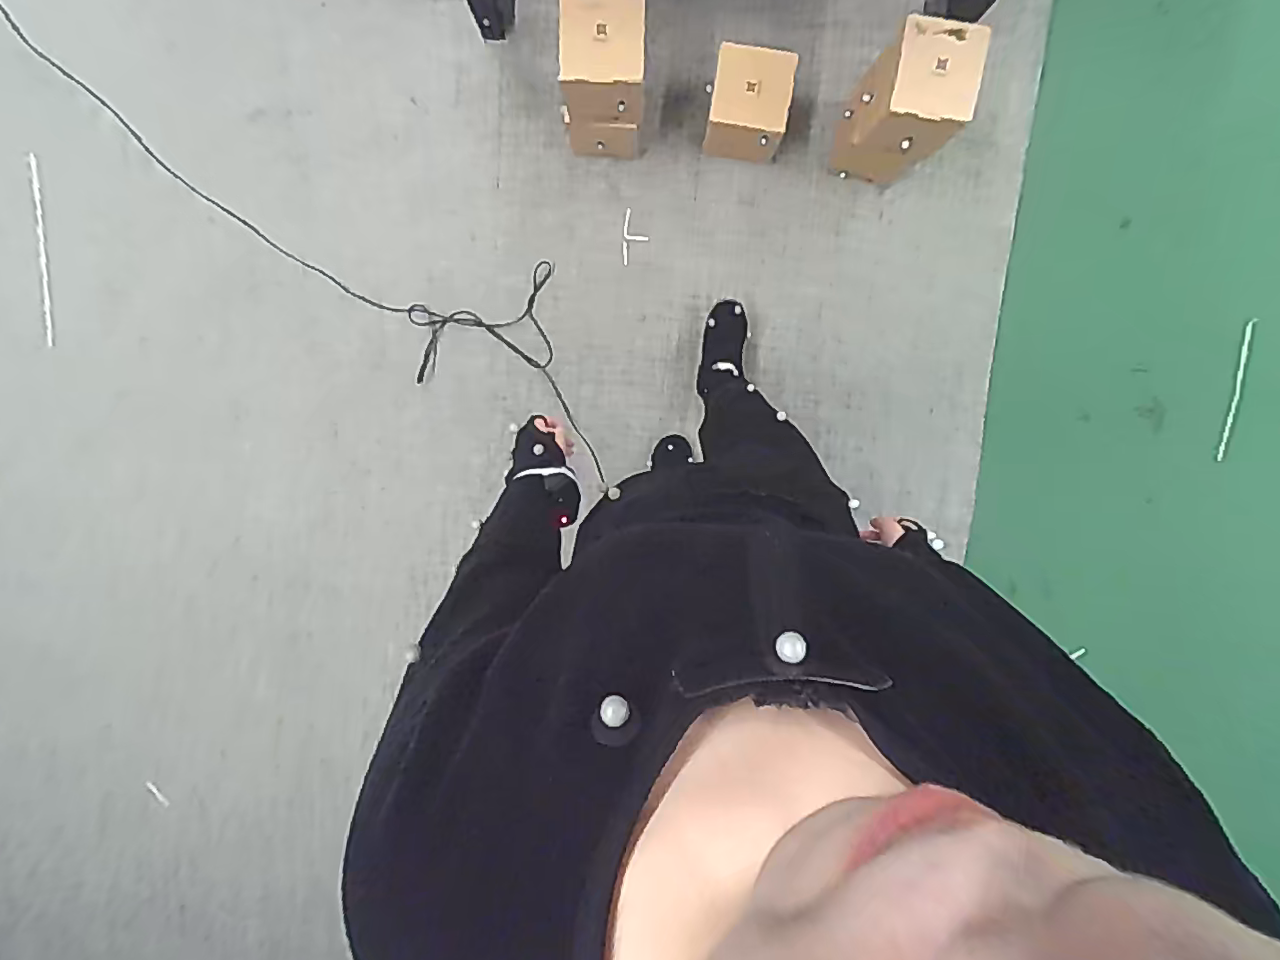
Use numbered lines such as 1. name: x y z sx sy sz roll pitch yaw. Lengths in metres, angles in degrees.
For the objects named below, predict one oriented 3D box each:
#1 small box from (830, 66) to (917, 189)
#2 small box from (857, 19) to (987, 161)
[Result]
1. small box: 0.571 -0.826 1.287 0.168 0.176 0.179 13 97 -1
2. small box: 0.572 -0.797 1.125 0.168 0.176 0.179 9 99 -1
